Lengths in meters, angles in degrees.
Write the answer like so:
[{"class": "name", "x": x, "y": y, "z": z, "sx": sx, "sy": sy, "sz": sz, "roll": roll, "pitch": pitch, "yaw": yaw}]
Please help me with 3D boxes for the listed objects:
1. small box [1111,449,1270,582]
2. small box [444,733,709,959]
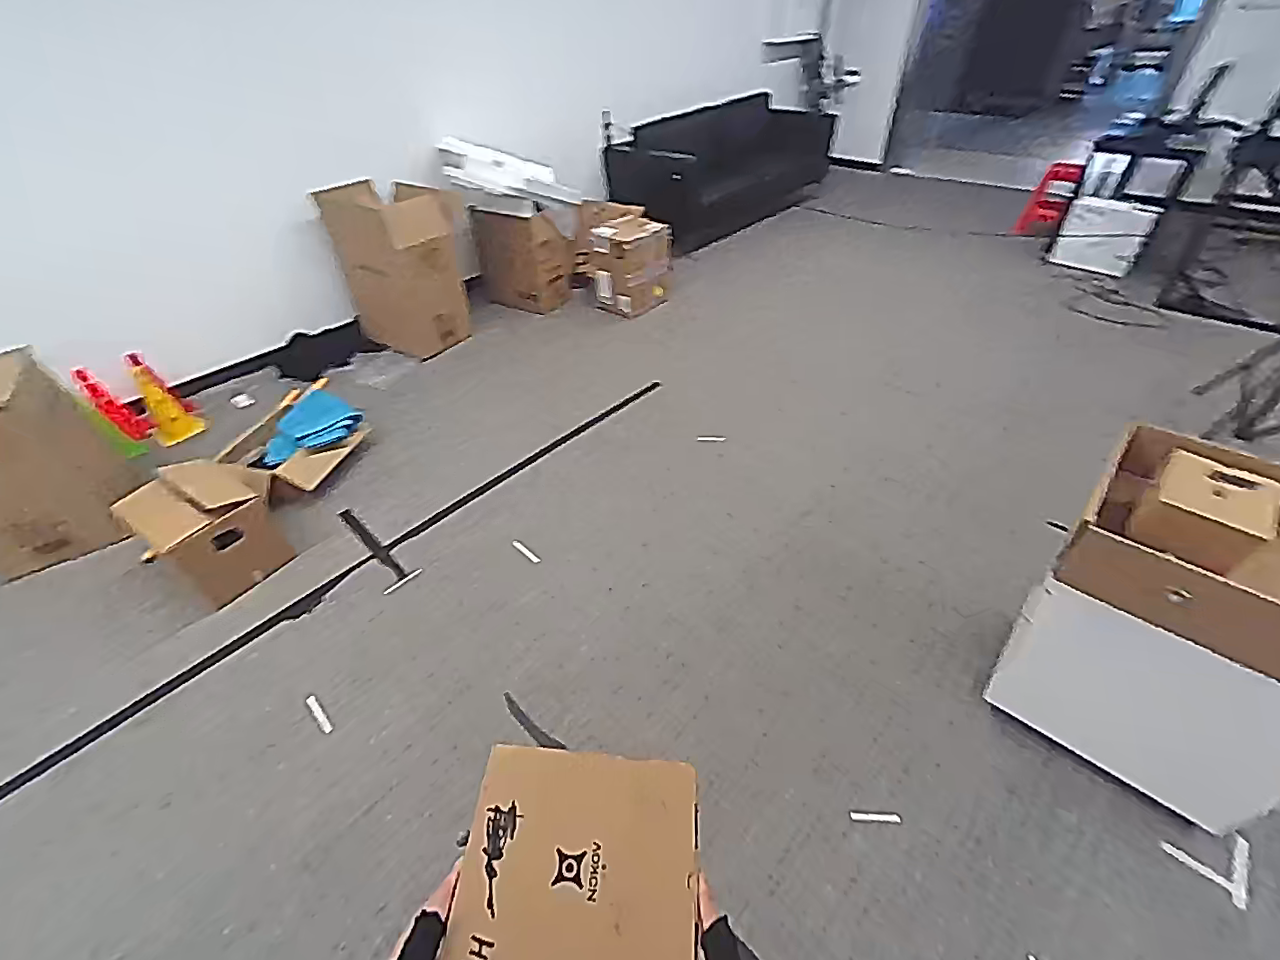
[{"class": "small box", "x": 1.122, "y": 0.073, "z": 1.112, "sx": 0.168, "sy": 0.176, "sz": 0.179, "roll": 29, "pitch": 57, "yaw": 31}, {"class": "small box", "x": -0.045, "y": 0.338, "z": 0.452, "sx": 0.179, "sy": 0.176, "sz": 0.168, "roll": 8, "pitch": 43, "yaw": 0}]
